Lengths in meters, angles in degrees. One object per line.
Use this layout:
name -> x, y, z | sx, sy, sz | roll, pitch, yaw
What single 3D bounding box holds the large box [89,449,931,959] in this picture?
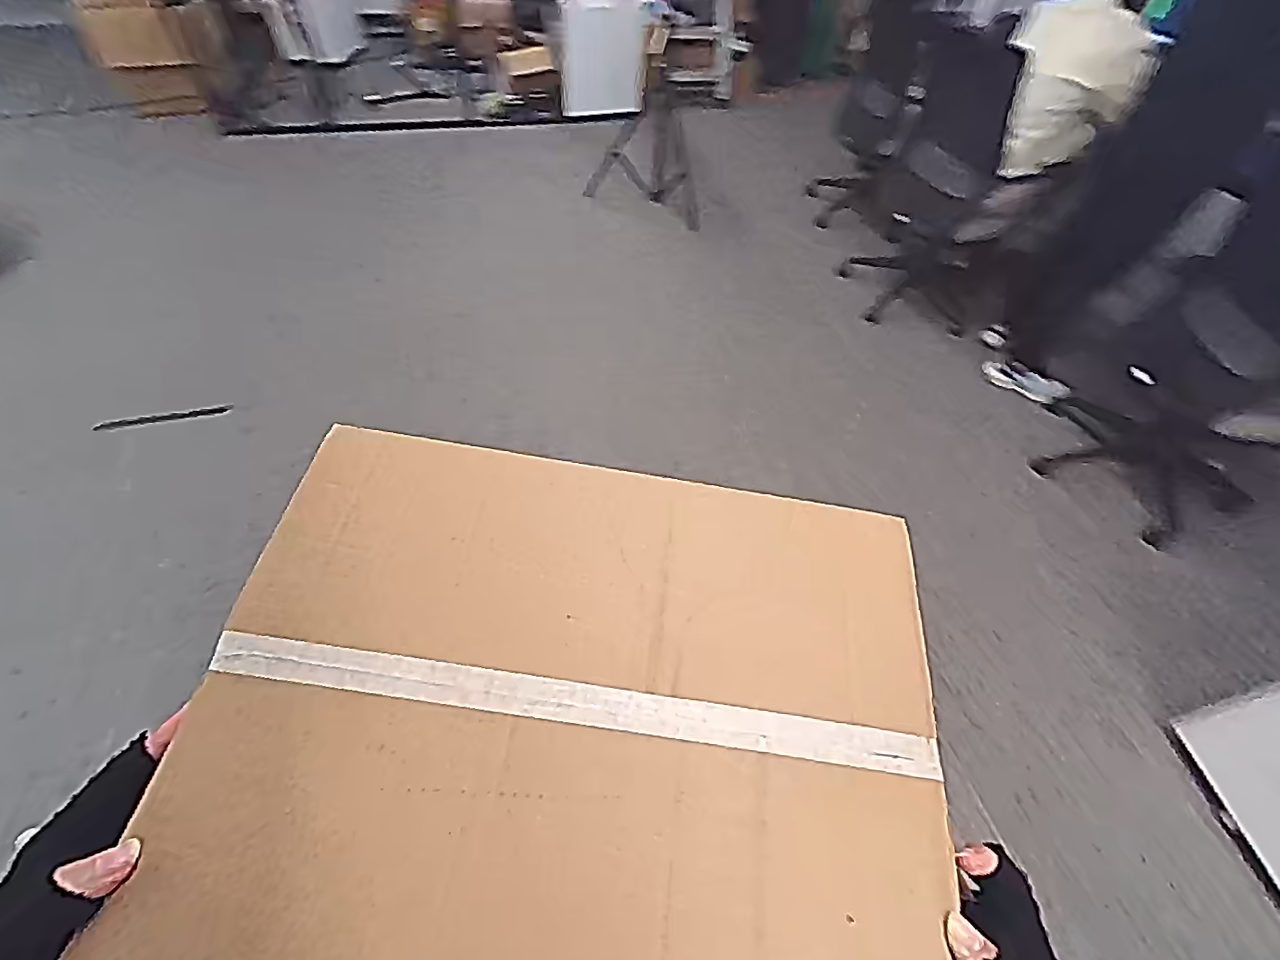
large box -> -0.055, 0.206, 0.444 | 0.408, 0.320, 0.320 | 8, 60, -2
